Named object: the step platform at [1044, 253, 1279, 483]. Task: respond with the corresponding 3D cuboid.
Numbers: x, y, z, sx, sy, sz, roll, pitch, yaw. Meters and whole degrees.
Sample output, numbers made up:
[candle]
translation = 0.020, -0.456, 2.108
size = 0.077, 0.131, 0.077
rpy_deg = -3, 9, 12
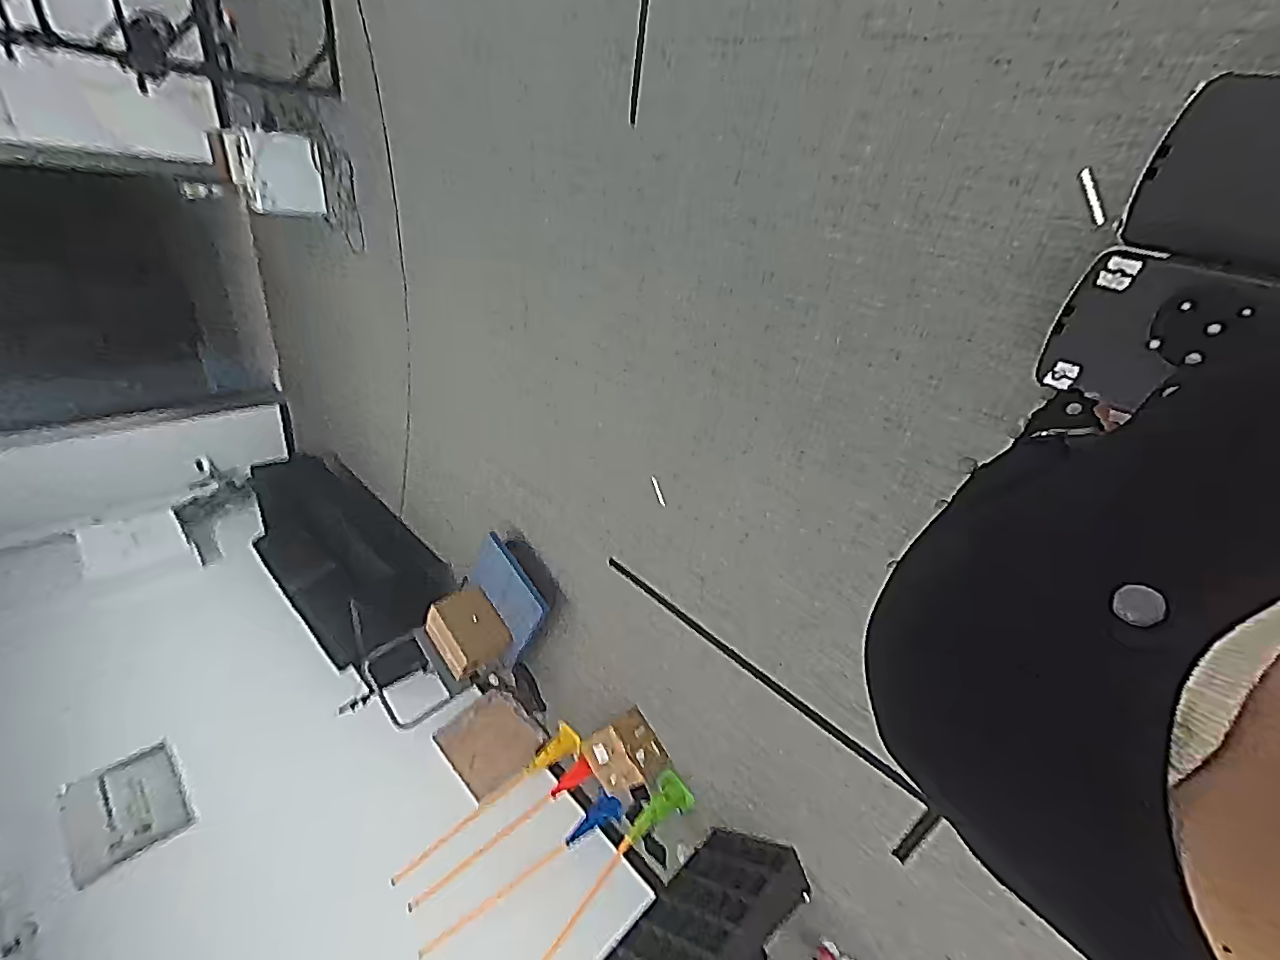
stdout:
[step platform]
translation = 1.146, -0.166, 0.962
size = 0.684, 0.204, 0.286
rpy_deg = 38, 128, 32
